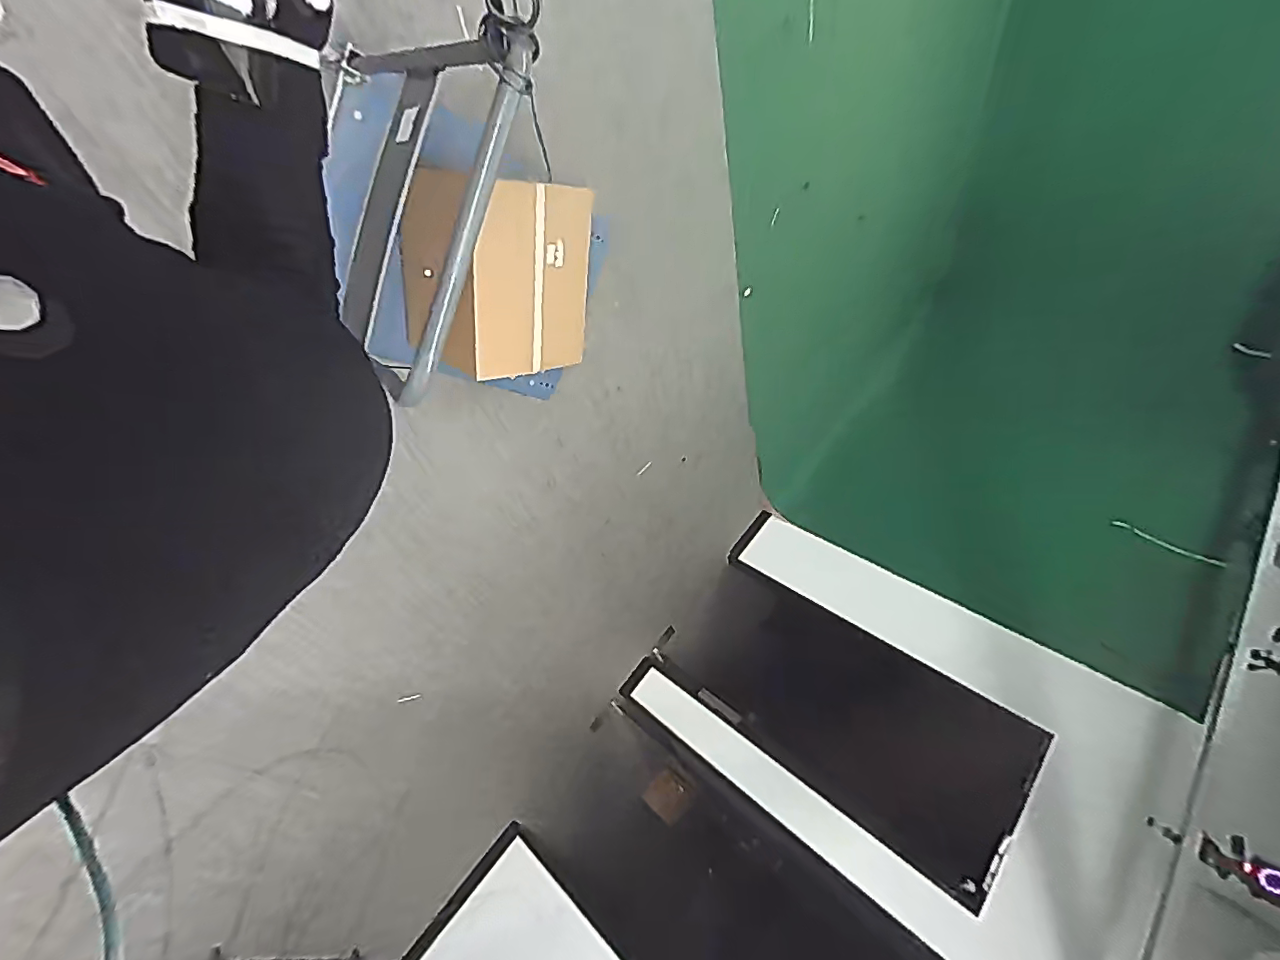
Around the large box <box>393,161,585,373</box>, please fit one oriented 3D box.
[{"bbox_3d":[-0.354,-0.510,1.293,0.320,0.320,0.408,-23,130,-44],"label":"large box"}]
